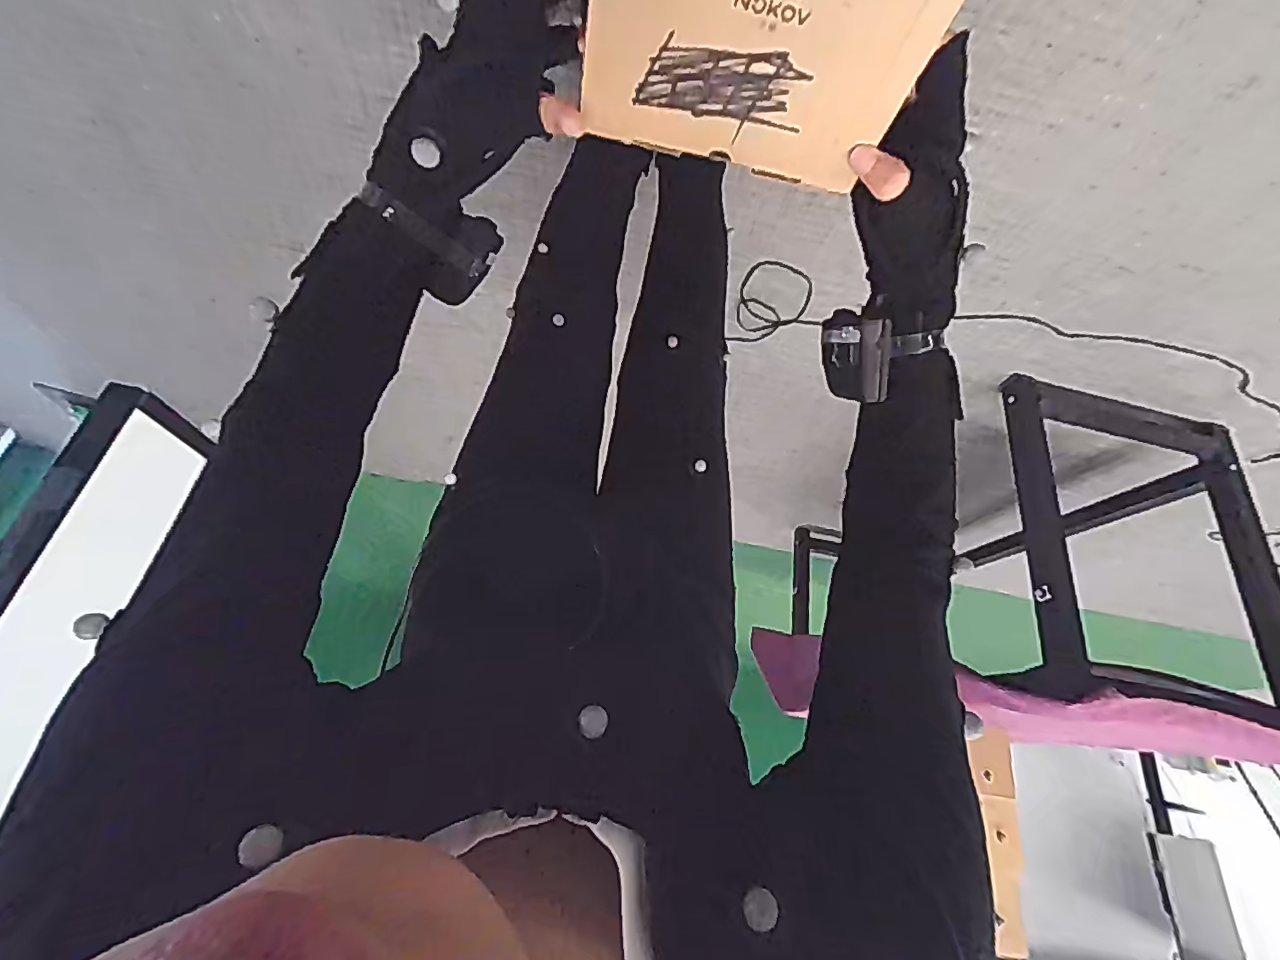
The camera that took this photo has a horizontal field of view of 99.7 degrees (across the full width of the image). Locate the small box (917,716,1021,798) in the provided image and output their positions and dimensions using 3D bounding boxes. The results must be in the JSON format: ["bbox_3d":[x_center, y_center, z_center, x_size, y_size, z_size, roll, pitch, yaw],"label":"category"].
[{"bbox_3d":[0.882,0.744,1.464,0.179,0.176,0.168,14,154,-9],"label":"small box"}]
